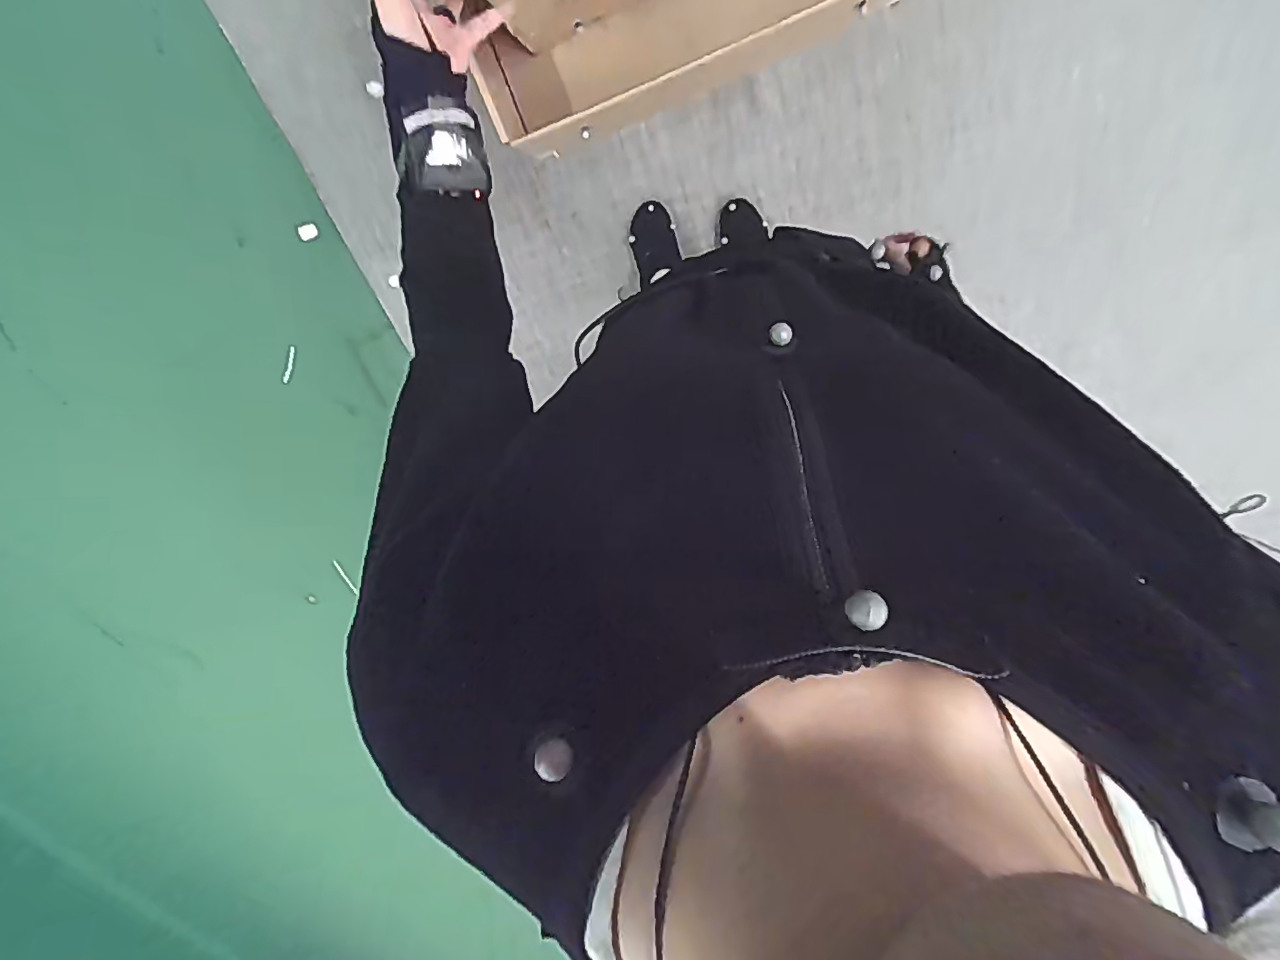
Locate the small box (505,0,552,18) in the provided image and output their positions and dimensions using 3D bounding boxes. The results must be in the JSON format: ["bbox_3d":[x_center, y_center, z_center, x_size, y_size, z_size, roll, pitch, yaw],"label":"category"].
[{"bbox_3d":[-0.134,-0.631,0.549,0.168,0.176,0.179,-33,112,20],"label":"small box"}]
